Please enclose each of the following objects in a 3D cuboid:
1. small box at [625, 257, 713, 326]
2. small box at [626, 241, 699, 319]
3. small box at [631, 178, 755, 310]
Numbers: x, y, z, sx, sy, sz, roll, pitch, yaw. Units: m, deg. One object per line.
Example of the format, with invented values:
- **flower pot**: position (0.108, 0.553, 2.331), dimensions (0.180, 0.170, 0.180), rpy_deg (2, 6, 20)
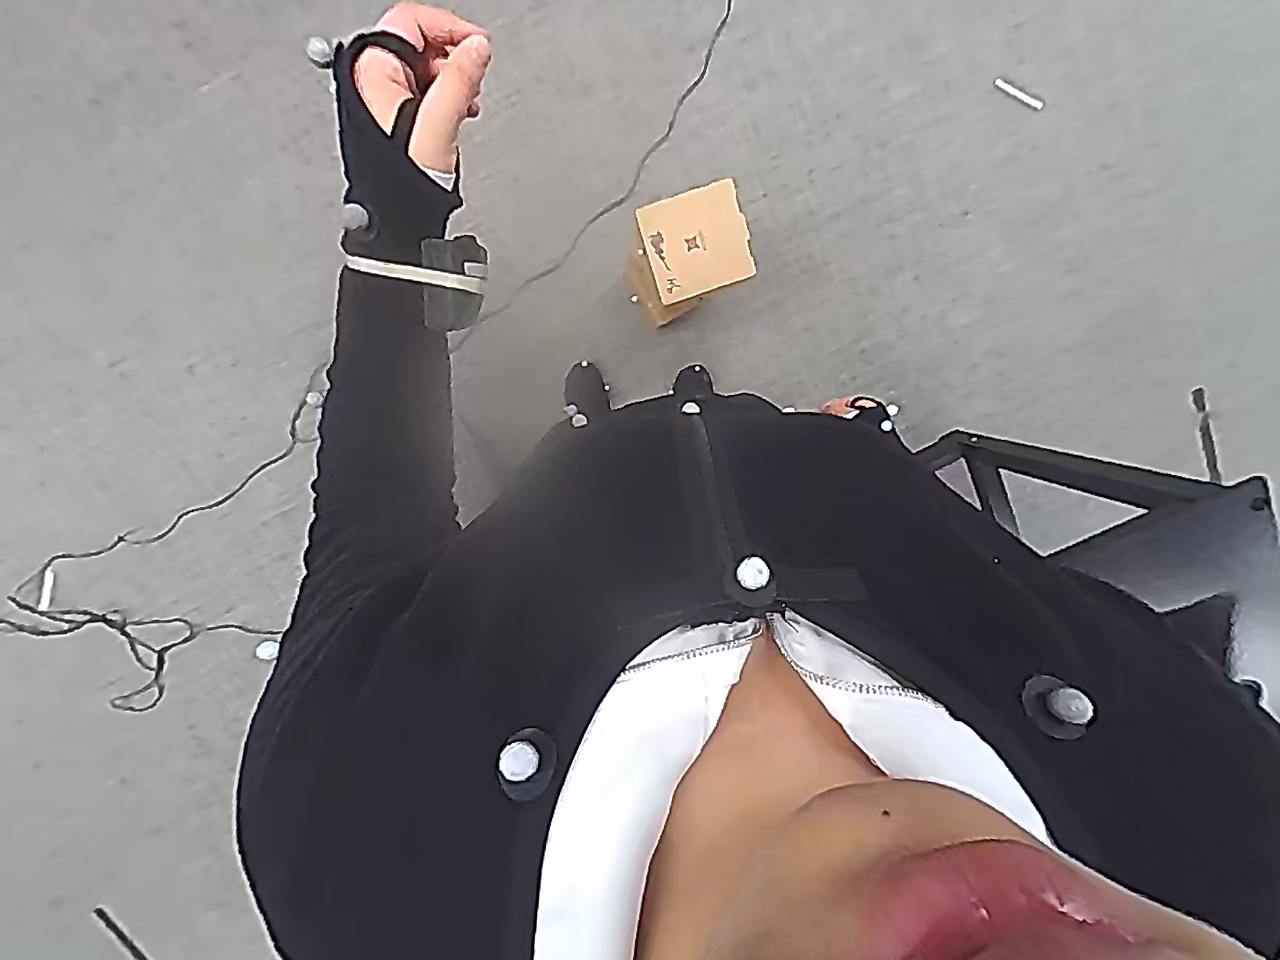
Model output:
- **small box**: position (0.073, -0.495, 1.327), dimensions (0.179, 0.176, 0.168), rpy_deg (-29, 101, 5)
- **small box**: position (0.083, -0.466, 1.168), dimensions (0.179, 0.176, 0.168), rpy_deg (-33, 102, 3)
- **small box**: position (0.091, -0.429, 1.008), dimensions (0.179, 0.176, 0.168), rpy_deg (-19, 103, 1)
